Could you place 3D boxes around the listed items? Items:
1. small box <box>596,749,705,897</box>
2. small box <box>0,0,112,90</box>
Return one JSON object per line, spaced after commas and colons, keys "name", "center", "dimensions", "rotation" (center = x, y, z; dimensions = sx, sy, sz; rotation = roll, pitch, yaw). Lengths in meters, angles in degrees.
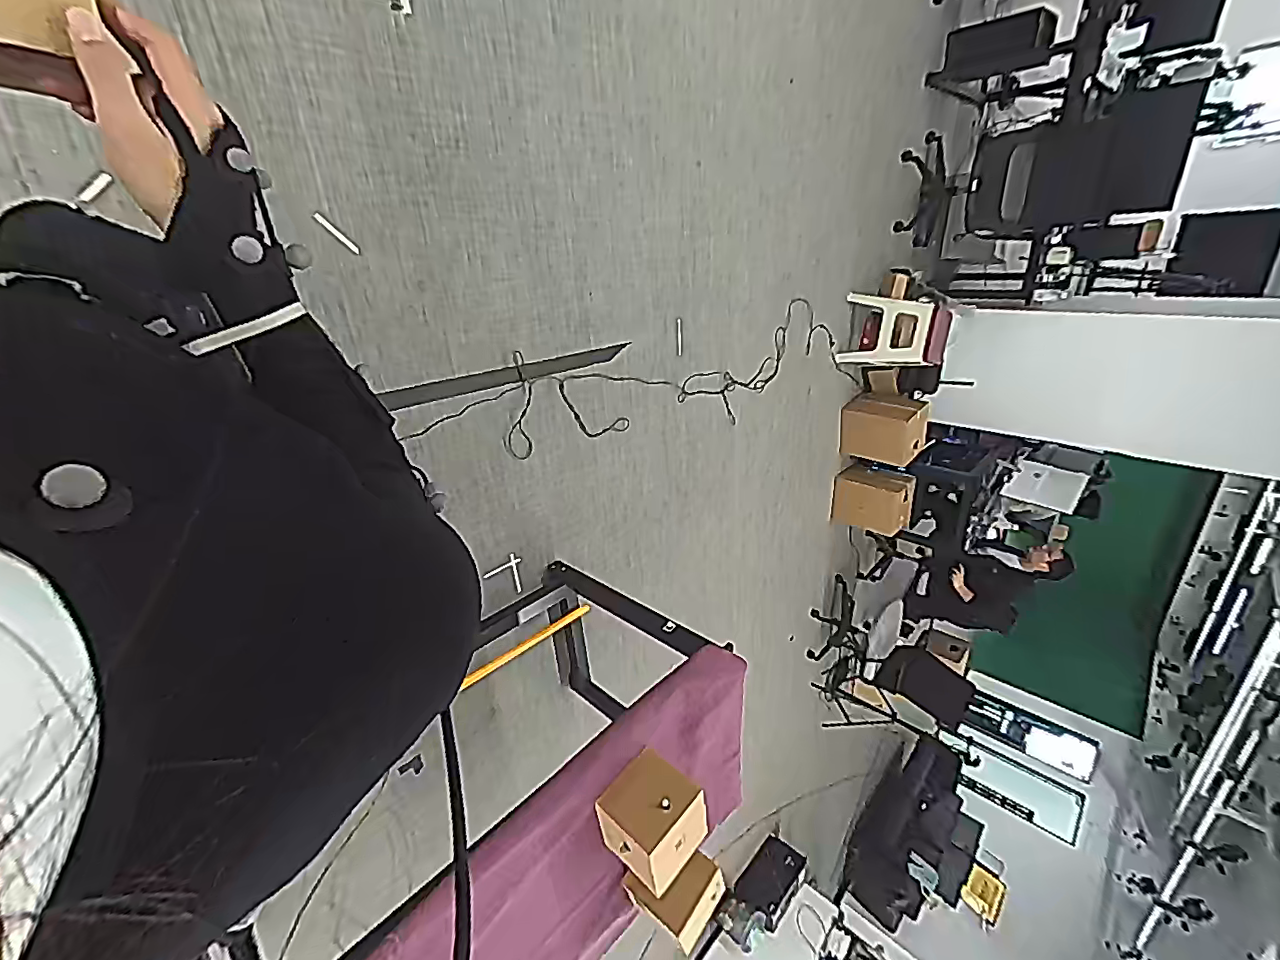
{"name": "small box", "center": [0.019, 0.743, 1.188], "dimensions": [0.179, 0.176, 0.168], "rotation": [-32, 126, -37]}
{"name": "small box", "center": [-0.389, -0.303, 0.249], "dimensions": [0.179, 0.176, 0.168], "rotation": [-18, 122, -43]}
